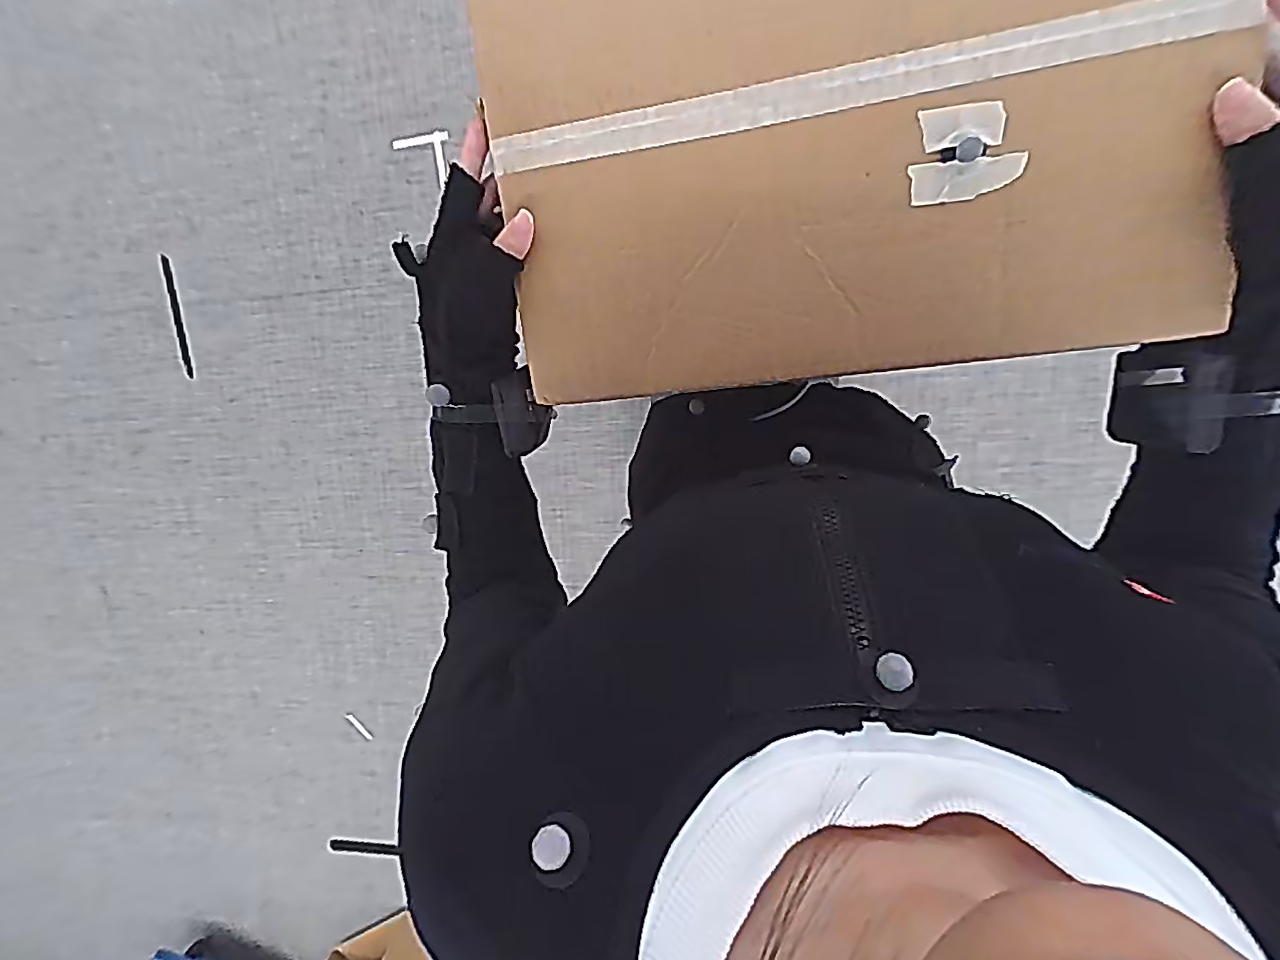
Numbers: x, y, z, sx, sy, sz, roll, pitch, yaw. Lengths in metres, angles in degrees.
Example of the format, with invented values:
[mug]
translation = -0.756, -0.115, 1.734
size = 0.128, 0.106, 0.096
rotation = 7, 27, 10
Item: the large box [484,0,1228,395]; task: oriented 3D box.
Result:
[large box]
translation = 0.130, -0.260, 0.458
size = 0.408, 0.320, 0.320
rotation = -5, 103, 10
